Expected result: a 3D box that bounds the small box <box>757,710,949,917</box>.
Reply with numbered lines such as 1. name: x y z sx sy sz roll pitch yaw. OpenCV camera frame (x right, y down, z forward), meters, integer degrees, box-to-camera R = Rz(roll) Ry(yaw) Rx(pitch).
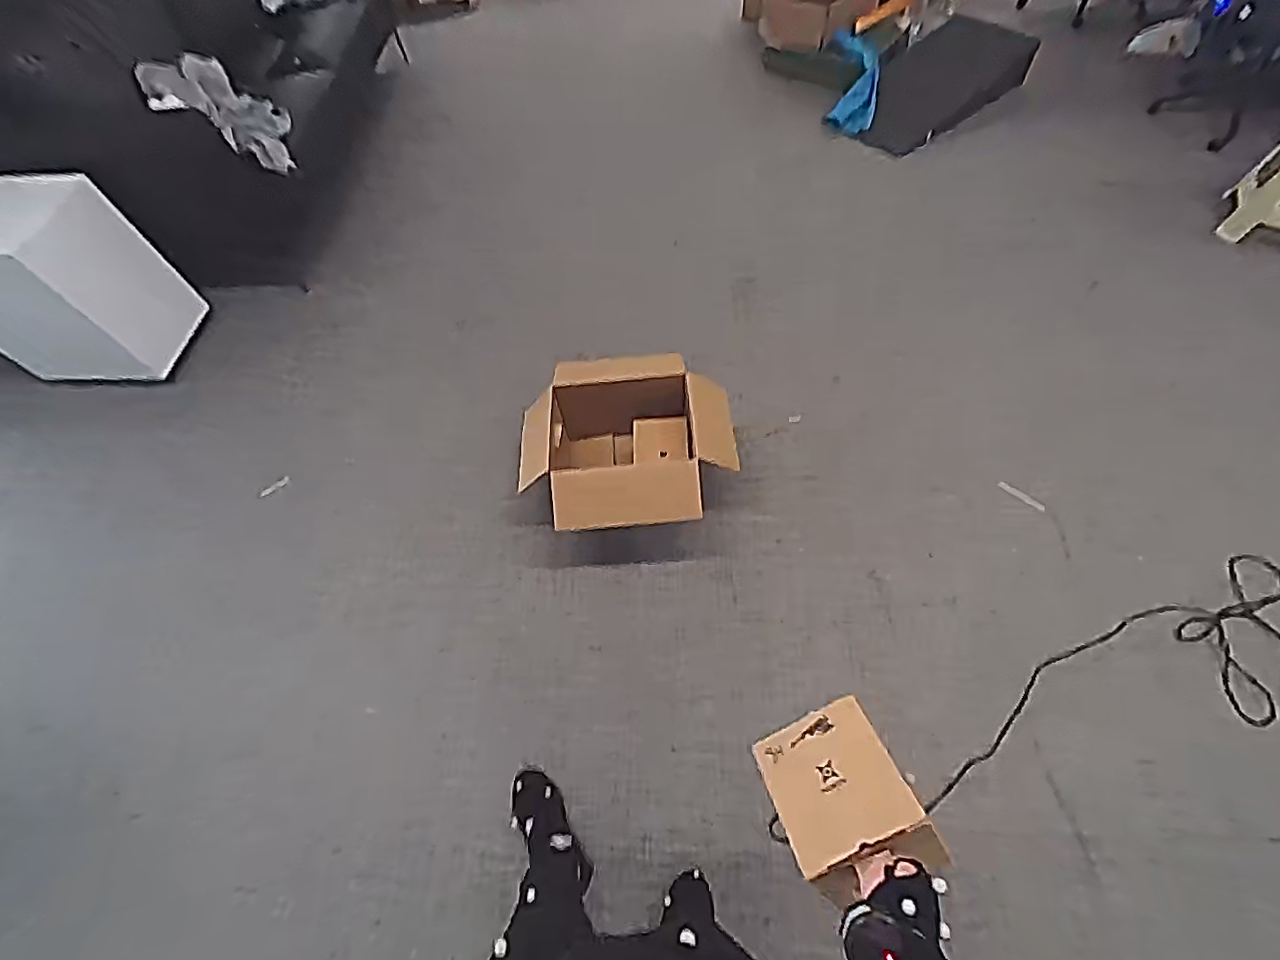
1. small box: 0.292 0.465 0.747 0.168 0.176 0.179 -30 31 8
